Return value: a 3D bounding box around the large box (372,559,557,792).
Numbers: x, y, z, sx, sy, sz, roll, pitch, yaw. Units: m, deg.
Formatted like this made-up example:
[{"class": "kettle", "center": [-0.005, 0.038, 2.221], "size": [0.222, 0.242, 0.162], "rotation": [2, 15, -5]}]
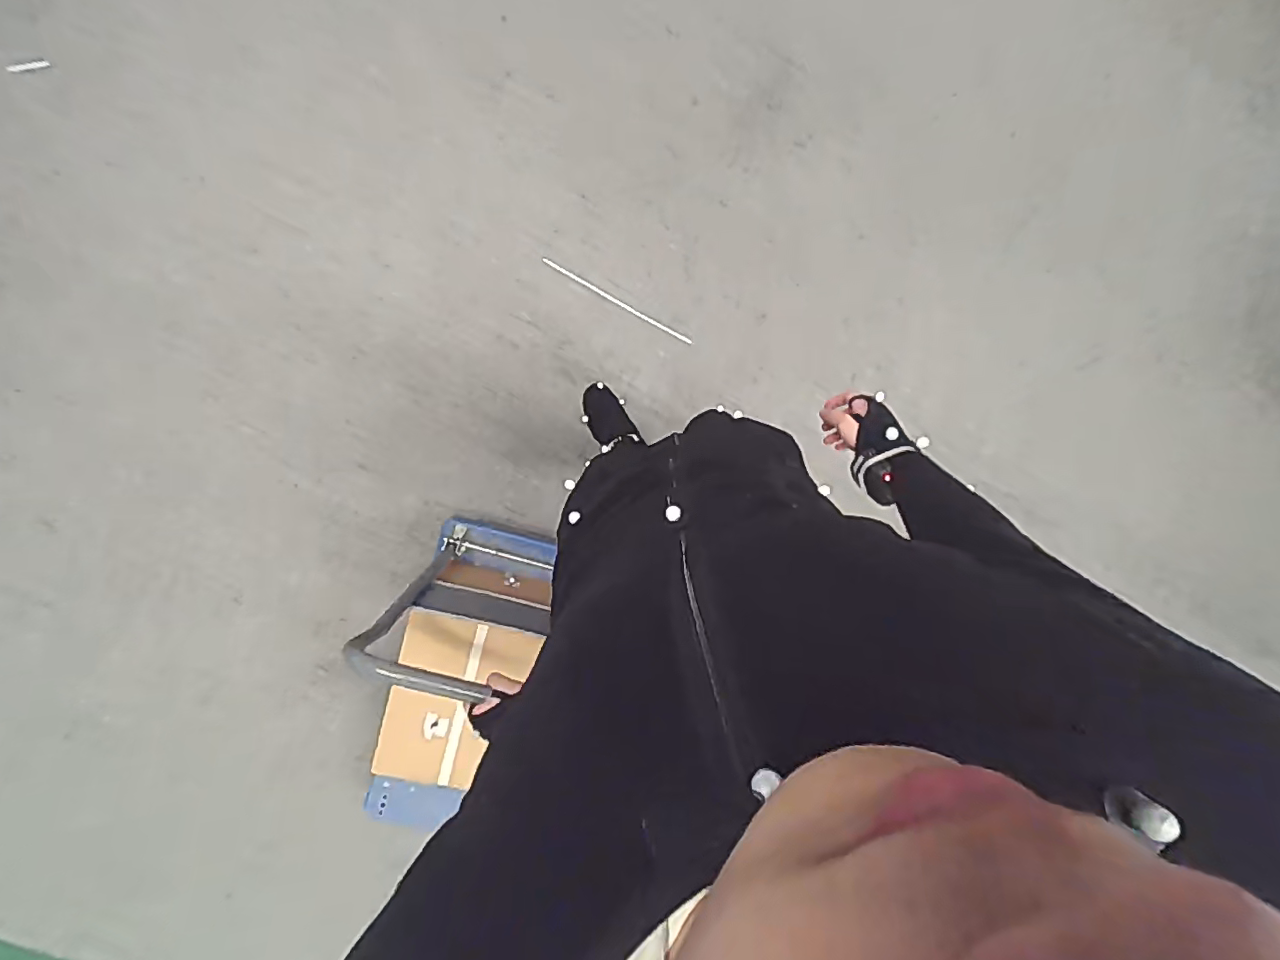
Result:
[{"class": "large box", "center": [-0.396, 0.445, 1.301], "size": [0.320, 0.320, 0.408], "rotation": [15, 96, -8]}]
